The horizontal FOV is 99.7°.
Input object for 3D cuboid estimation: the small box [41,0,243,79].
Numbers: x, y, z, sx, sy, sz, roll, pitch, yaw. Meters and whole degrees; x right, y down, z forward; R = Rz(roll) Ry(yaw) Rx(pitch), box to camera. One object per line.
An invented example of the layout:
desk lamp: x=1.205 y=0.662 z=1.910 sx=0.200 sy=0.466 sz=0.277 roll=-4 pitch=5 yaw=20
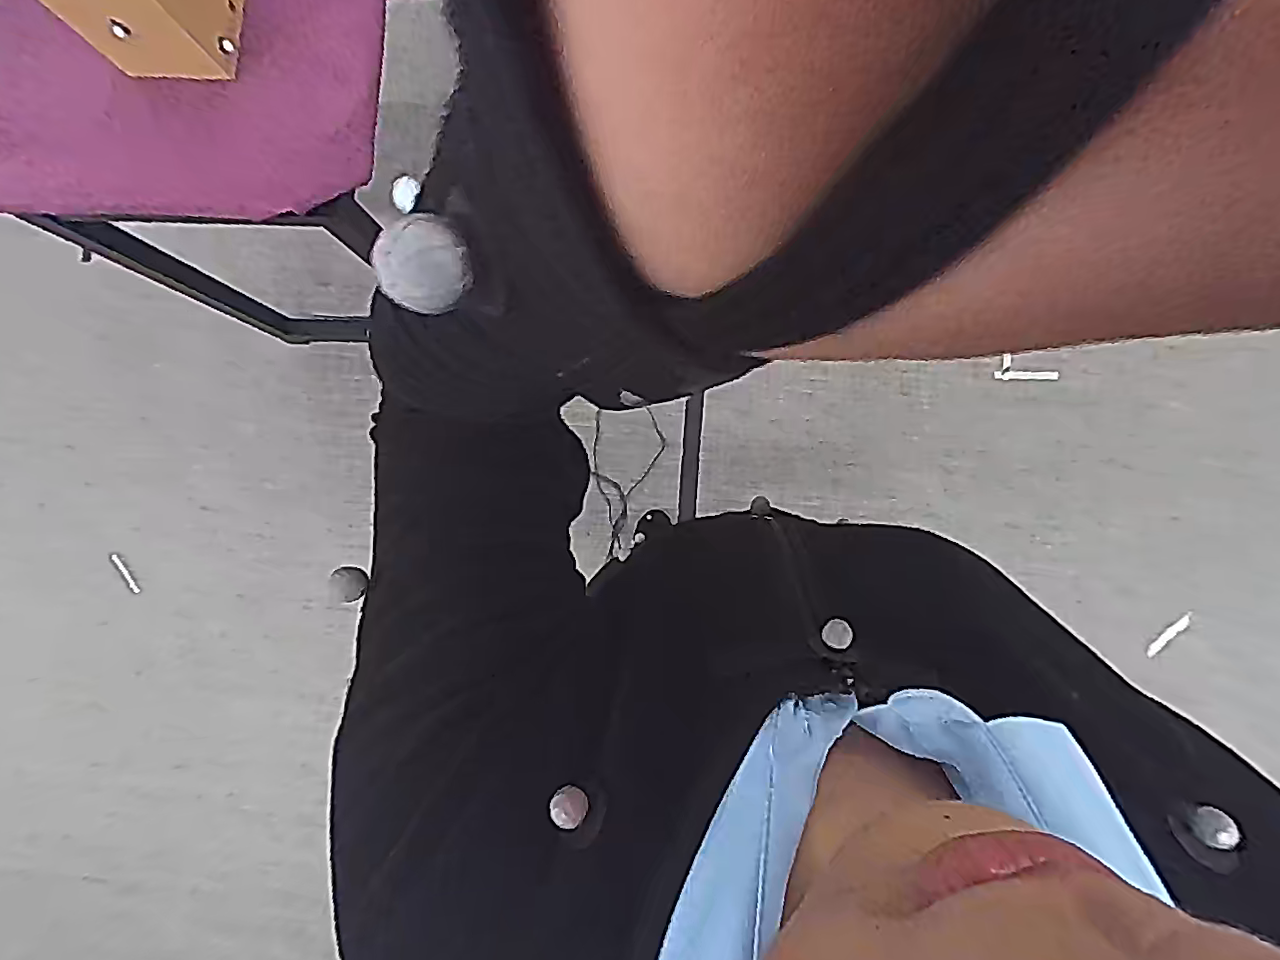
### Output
small box: x=-0.723 y=-0.724 z=0.785 sx=0.179 sy=0.176 sz=0.168 roll=3 pitch=86 yaw=2
